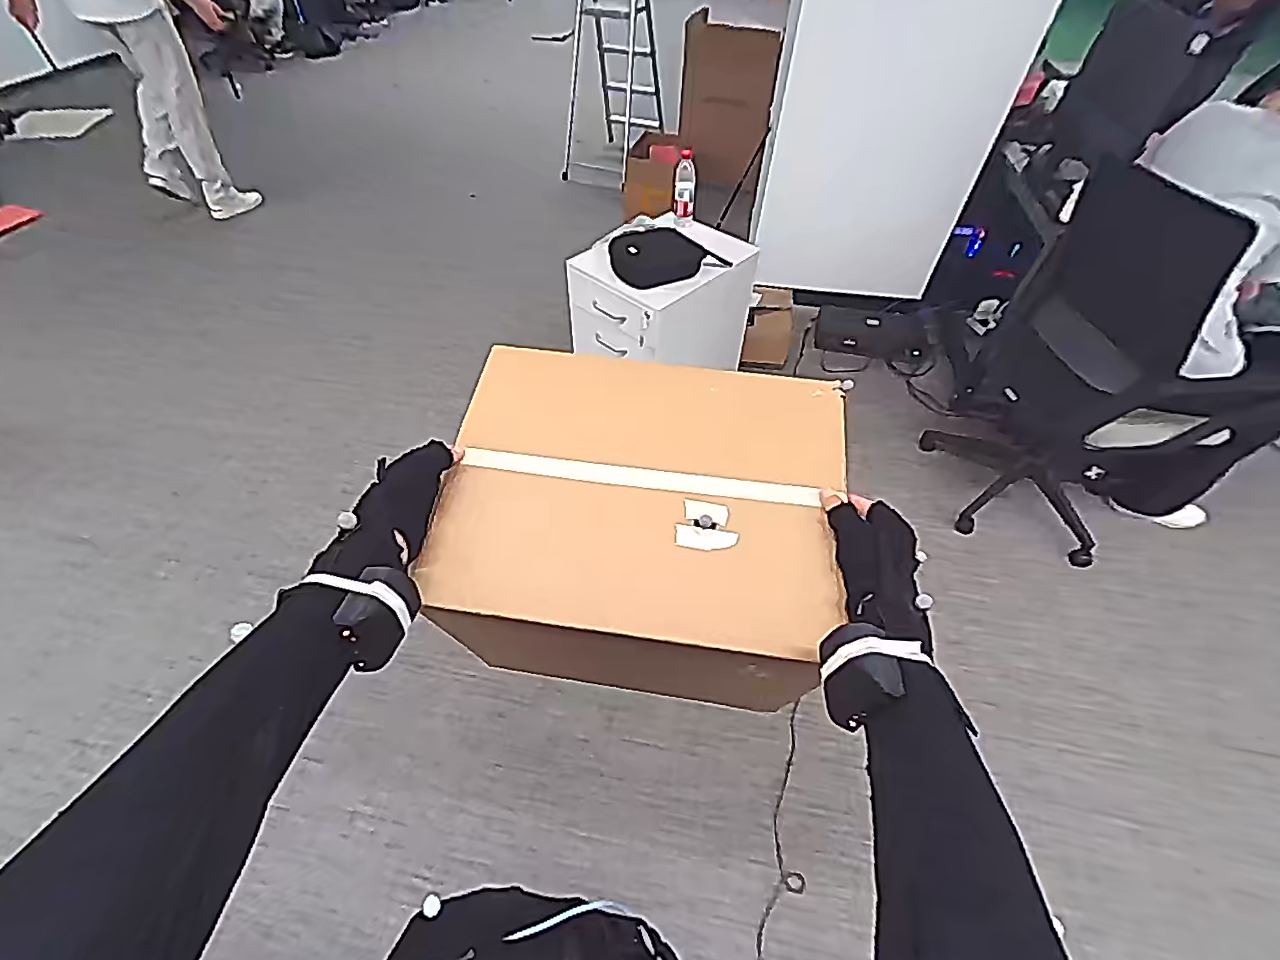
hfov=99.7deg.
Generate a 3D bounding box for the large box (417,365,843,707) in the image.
[{"bbox_3d":[0.002,0.085,0.695,0.408,0.320,0.320,7,61,4],"label":"large box"}]
